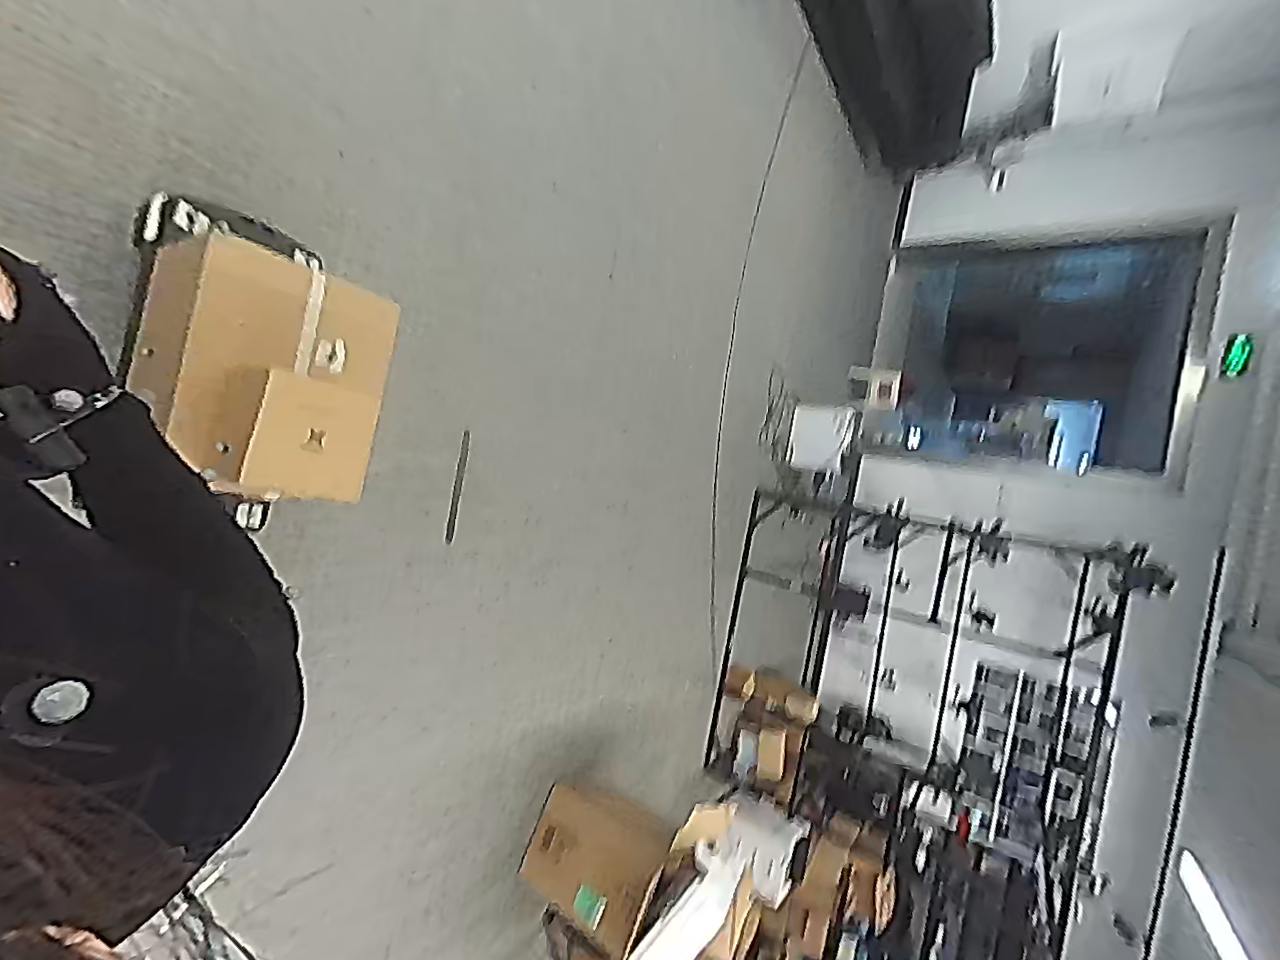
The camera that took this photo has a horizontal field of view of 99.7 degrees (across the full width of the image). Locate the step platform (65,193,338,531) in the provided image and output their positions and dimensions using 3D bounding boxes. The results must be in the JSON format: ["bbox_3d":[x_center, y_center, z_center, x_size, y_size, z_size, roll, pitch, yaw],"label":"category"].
[{"bbox_3d":[-0.904,-0.233,1.148,0.286,0.204,0.684,23,79,-54],"label":"step platform"}]

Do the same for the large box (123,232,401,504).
[{"bbox_3d":[-0.708,-0.180,1.022,0.320,0.320,0.408,14,86,-55],"label":"large box"}]

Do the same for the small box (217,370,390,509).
[{"bbox_3d":[-0.538,-0.064,0.862,0.168,0.176,0.179,20,81,-53],"label":"small box"}]
